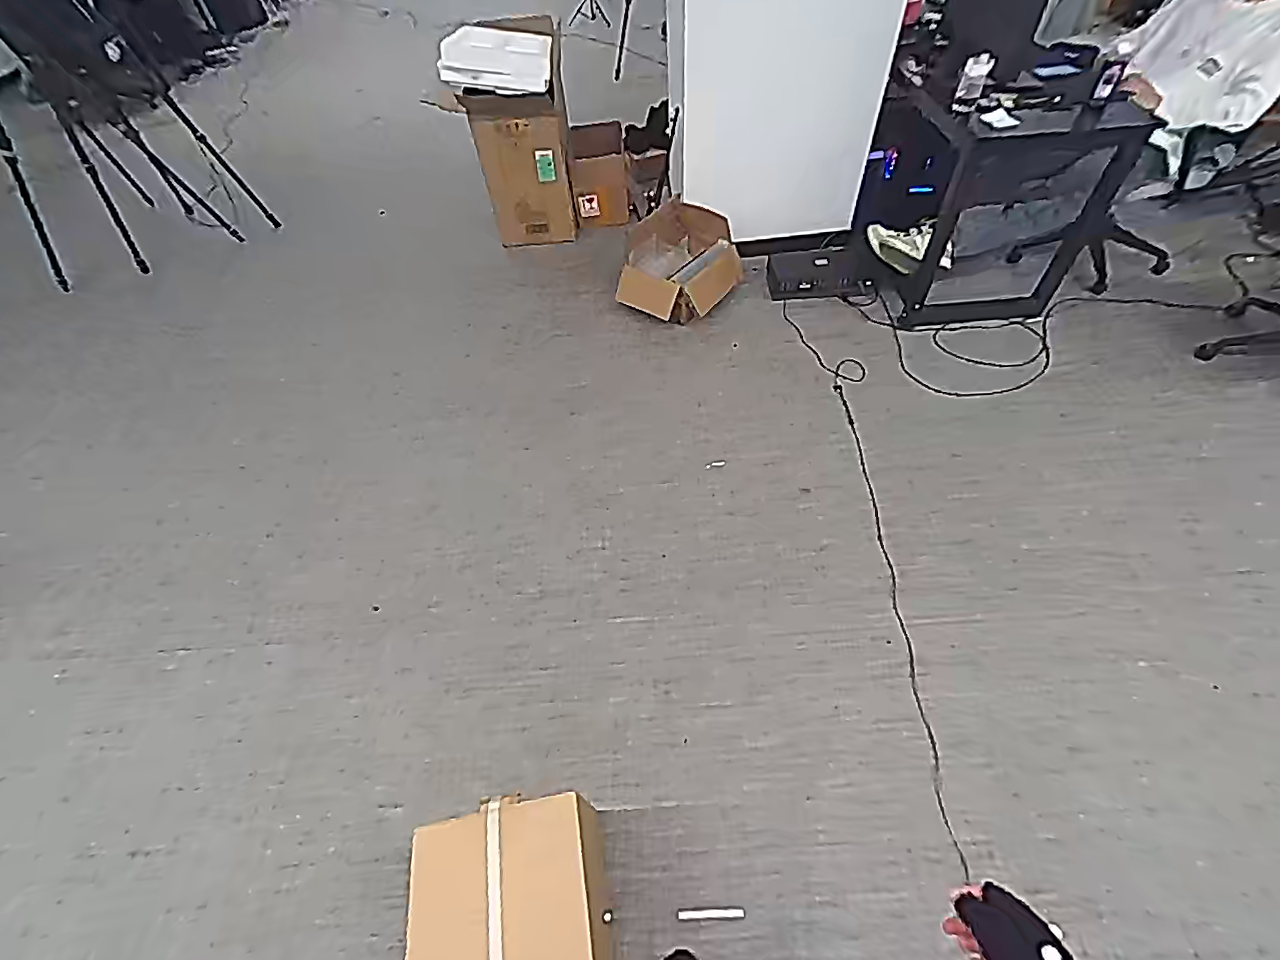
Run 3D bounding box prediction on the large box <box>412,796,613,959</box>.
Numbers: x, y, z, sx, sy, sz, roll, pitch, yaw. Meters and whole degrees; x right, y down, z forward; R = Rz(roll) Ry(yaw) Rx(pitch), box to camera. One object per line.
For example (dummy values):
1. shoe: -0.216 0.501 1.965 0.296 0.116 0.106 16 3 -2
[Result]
1. large box: -0.228 0.885 1.041 0.320 0.320 0.408 -12 53 -3
